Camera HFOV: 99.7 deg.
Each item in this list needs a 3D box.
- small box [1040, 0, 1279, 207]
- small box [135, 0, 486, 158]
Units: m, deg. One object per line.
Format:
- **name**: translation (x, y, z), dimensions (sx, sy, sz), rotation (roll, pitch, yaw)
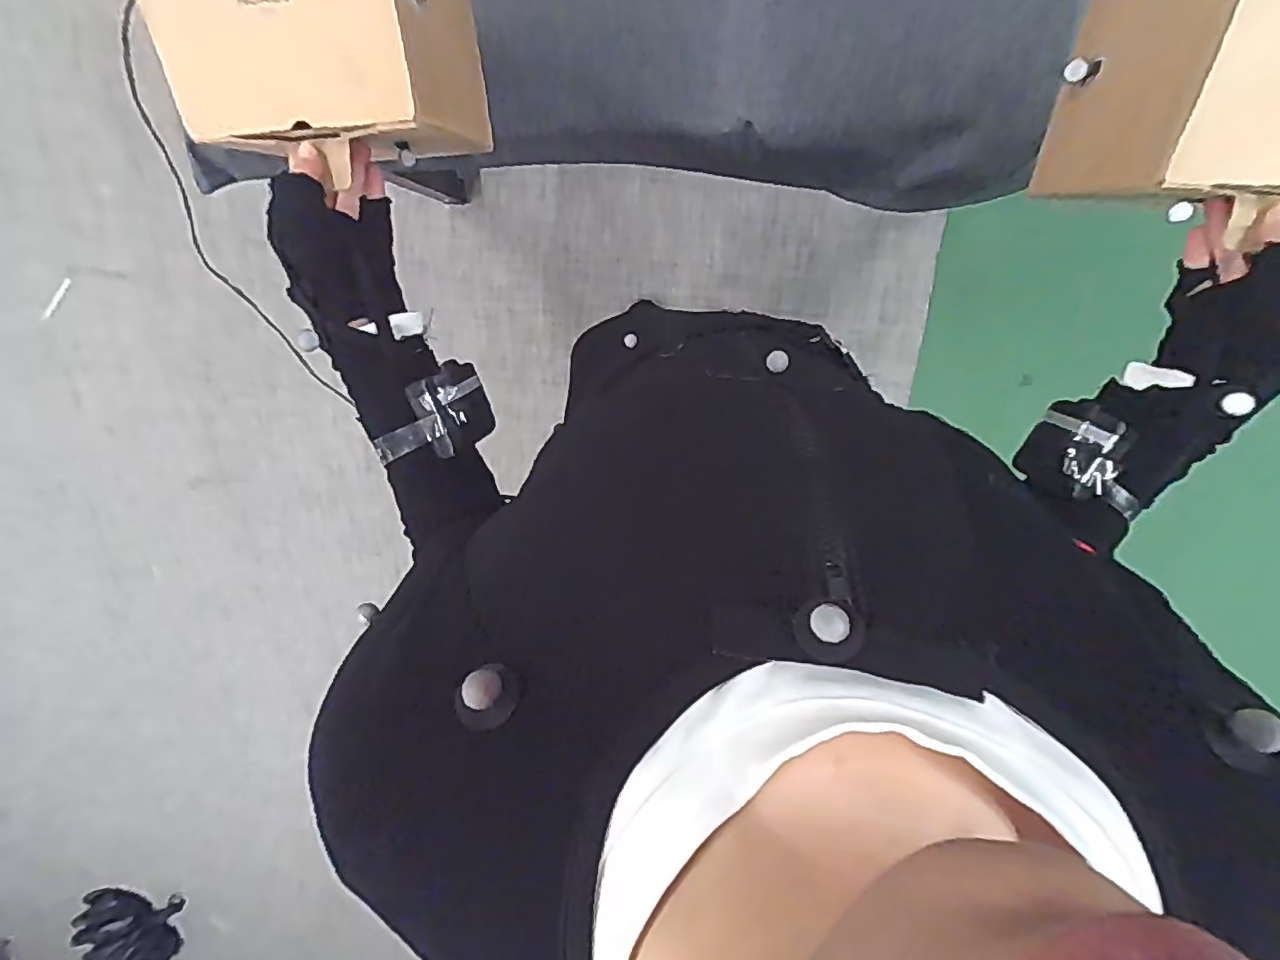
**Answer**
- **small box**: translation (0.424, -0.290, 0.373), dimensions (0.168, 0.176, 0.179), rotation (6, 117, 4)
- **small box**: translation (-0.226, -0.344, 0.395), dimensions (0.168, 0.176, 0.179), rotation (-2, 115, 4)
